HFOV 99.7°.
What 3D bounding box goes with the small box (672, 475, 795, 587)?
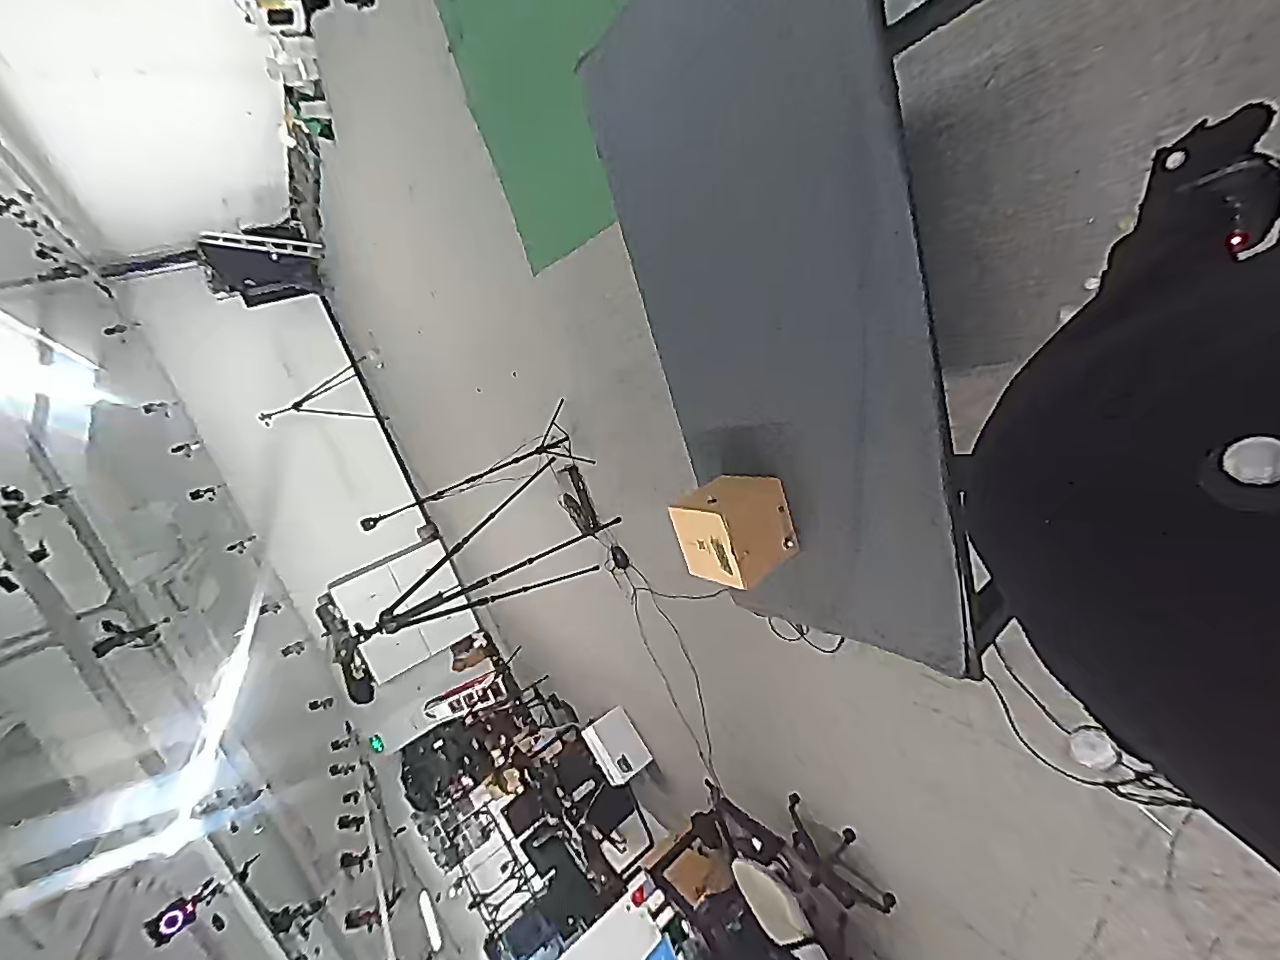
[{"bbox_3d":[0.202,0.097,1.129,0.179,0.176,0.168,4,117,57],"label":"small box"}]
